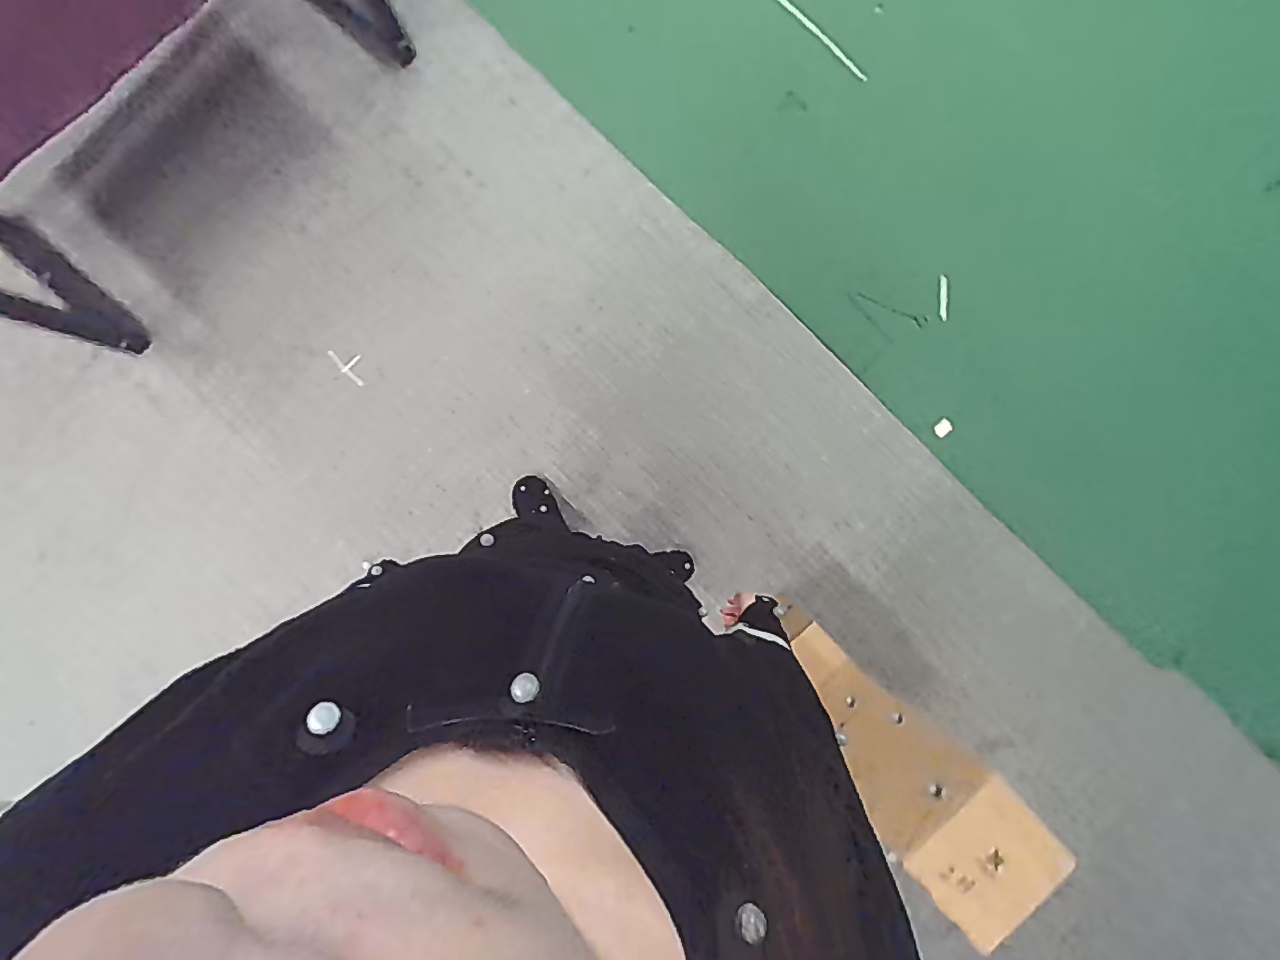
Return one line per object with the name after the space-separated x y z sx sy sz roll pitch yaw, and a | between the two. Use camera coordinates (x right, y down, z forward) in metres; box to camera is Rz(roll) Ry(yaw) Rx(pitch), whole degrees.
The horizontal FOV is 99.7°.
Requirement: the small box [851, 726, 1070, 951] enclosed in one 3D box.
0.448 0.500 0.787 0.179 0.176 0.168 -40 90 -2 | small box

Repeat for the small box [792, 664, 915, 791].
0.447 0.515 1.117 0.168 0.176 0.179 -38 91 -2 | small box
